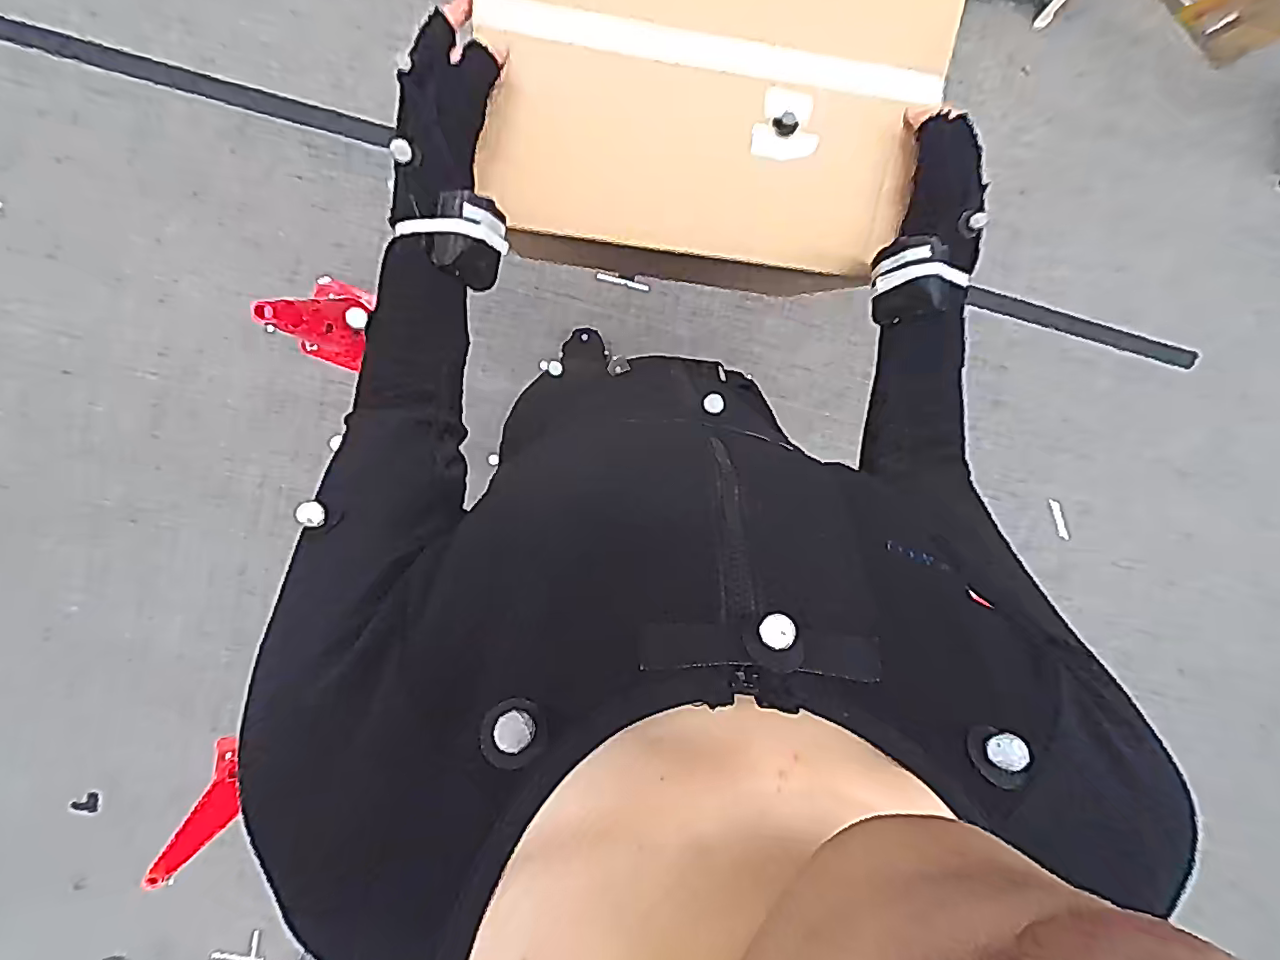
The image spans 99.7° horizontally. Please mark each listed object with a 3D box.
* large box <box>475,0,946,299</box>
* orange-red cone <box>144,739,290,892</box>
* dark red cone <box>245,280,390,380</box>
[{"bbox_3d":[0.047,-0.396,0.615,0.408,0.320,0.320,5,106,-7],"label":"large box"},{"bbox_3d":[-1.107,0.880,1.390,0.198,0.360,0.199,11,101,-5],"label":"orange-red cone"},{"bbox_3d":[-0.716,-0.340,1.167,0.201,0.394,0.202,19,99,-8],"label":"dark red cone"}]
